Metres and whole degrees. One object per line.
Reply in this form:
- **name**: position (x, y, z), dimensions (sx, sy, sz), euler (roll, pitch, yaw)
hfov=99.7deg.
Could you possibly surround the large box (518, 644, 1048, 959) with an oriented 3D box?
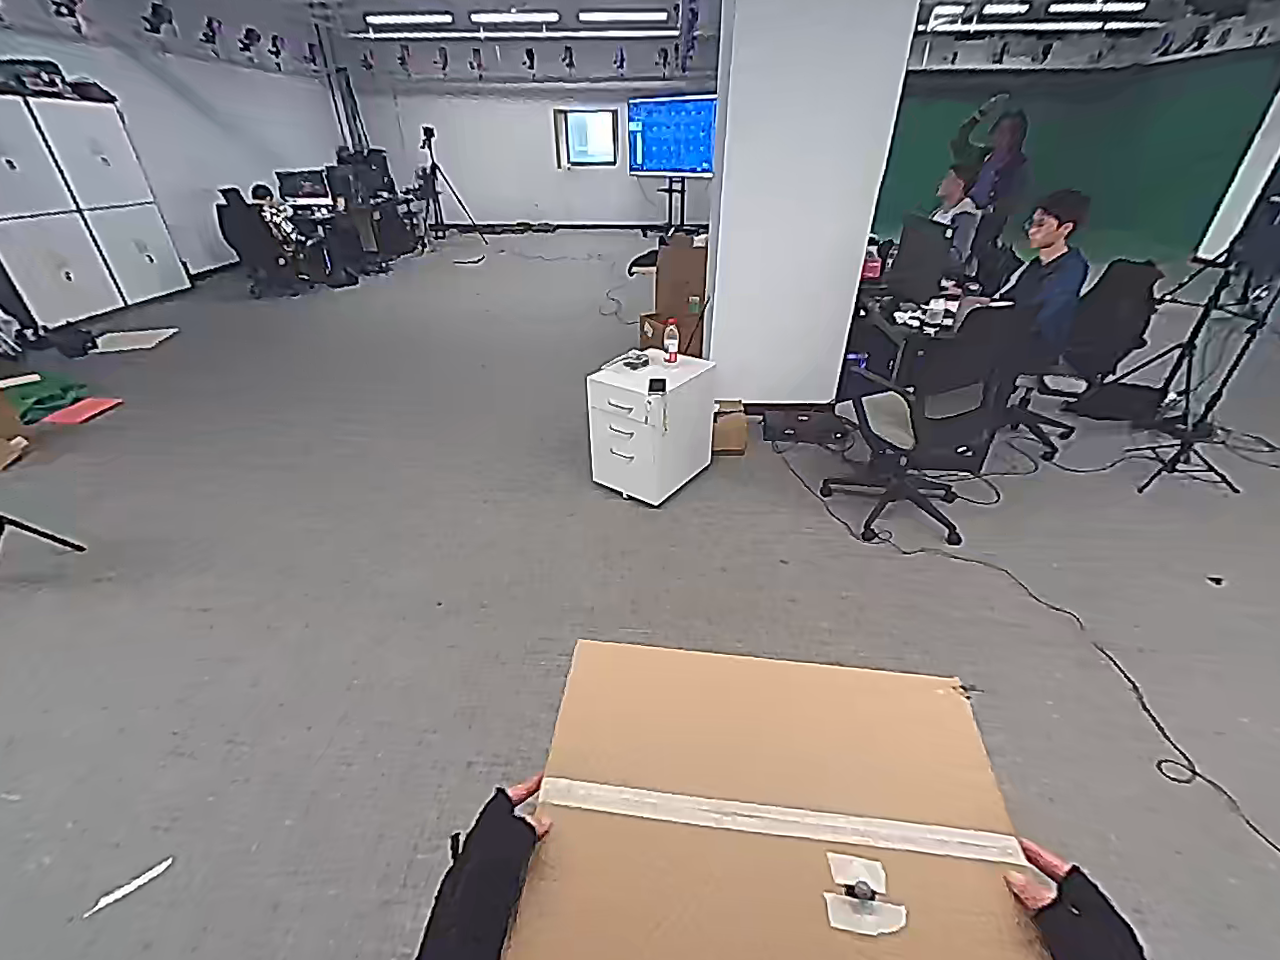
- **large box**: position (0.117, 0.409, 0.574), dimensions (0.408, 0.320, 0.320), euler (5, 42, 6)
